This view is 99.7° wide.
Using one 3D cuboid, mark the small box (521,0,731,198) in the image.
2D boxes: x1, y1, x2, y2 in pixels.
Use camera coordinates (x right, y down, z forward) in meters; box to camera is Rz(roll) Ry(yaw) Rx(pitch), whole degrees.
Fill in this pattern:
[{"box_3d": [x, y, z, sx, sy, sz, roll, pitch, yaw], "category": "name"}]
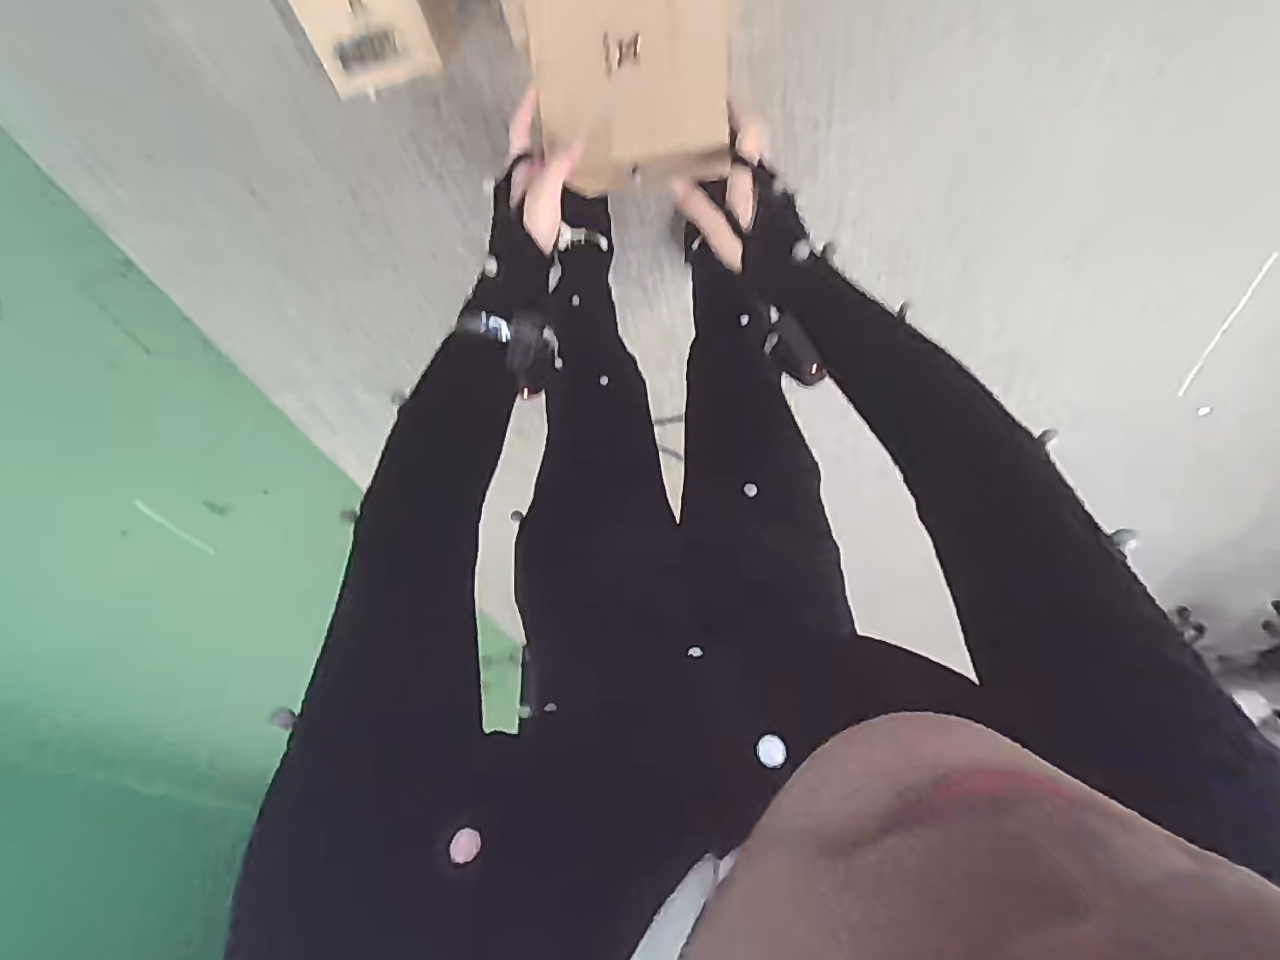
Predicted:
[{"box_3d": [0.000, -0.392, 0.542, 0.179, 0.176, 0.168, -2, 110, 10], "category": "small box"}]
